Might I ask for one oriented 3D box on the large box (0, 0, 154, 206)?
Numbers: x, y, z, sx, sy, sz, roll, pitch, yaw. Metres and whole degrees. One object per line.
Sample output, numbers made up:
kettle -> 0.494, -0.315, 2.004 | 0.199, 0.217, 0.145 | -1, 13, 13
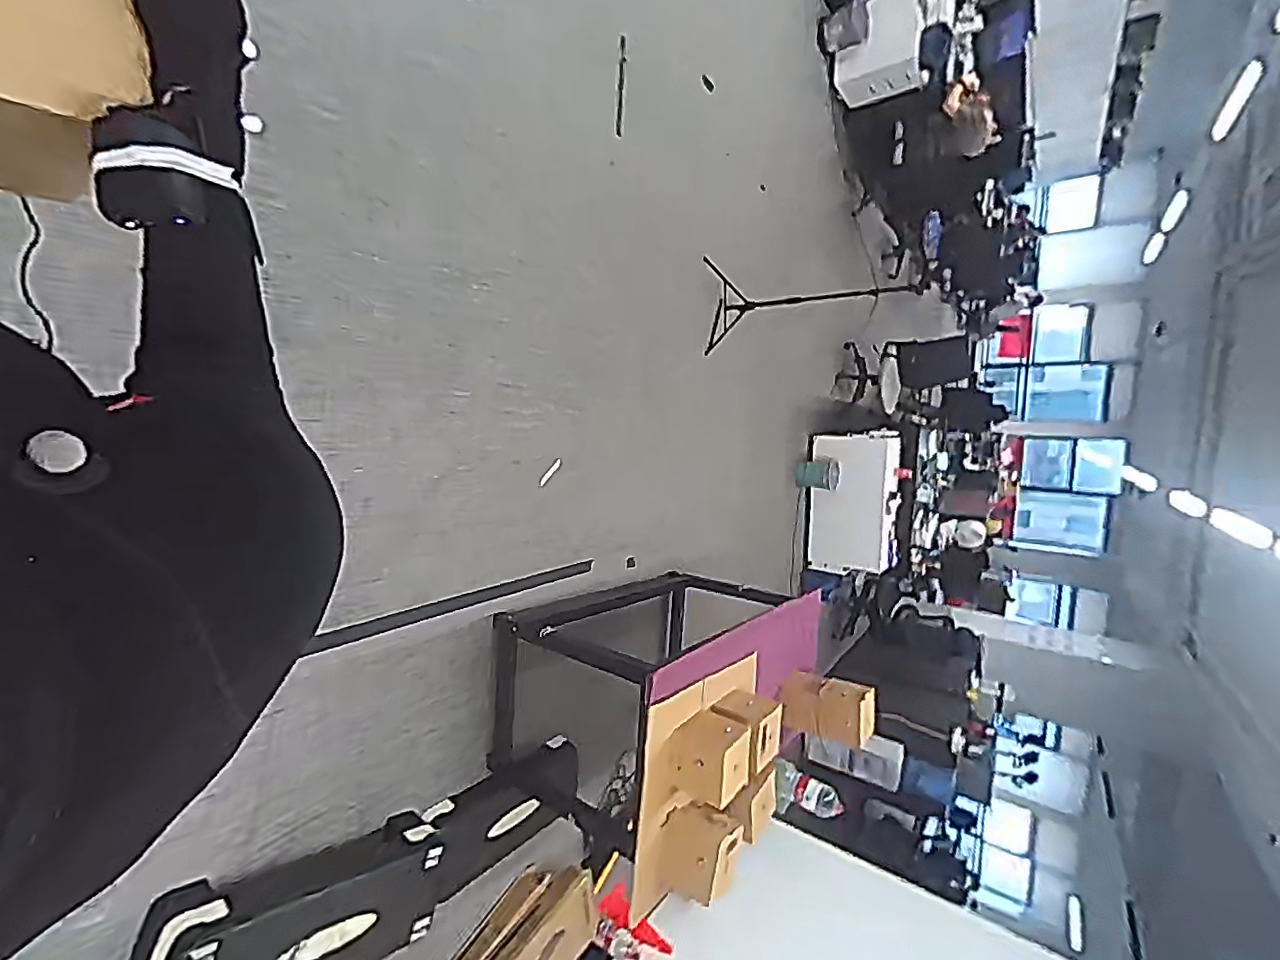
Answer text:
large box -> -0.588, -0.386, 0.296 | 0.408, 0.320, 0.320 | -11, 108, -54
